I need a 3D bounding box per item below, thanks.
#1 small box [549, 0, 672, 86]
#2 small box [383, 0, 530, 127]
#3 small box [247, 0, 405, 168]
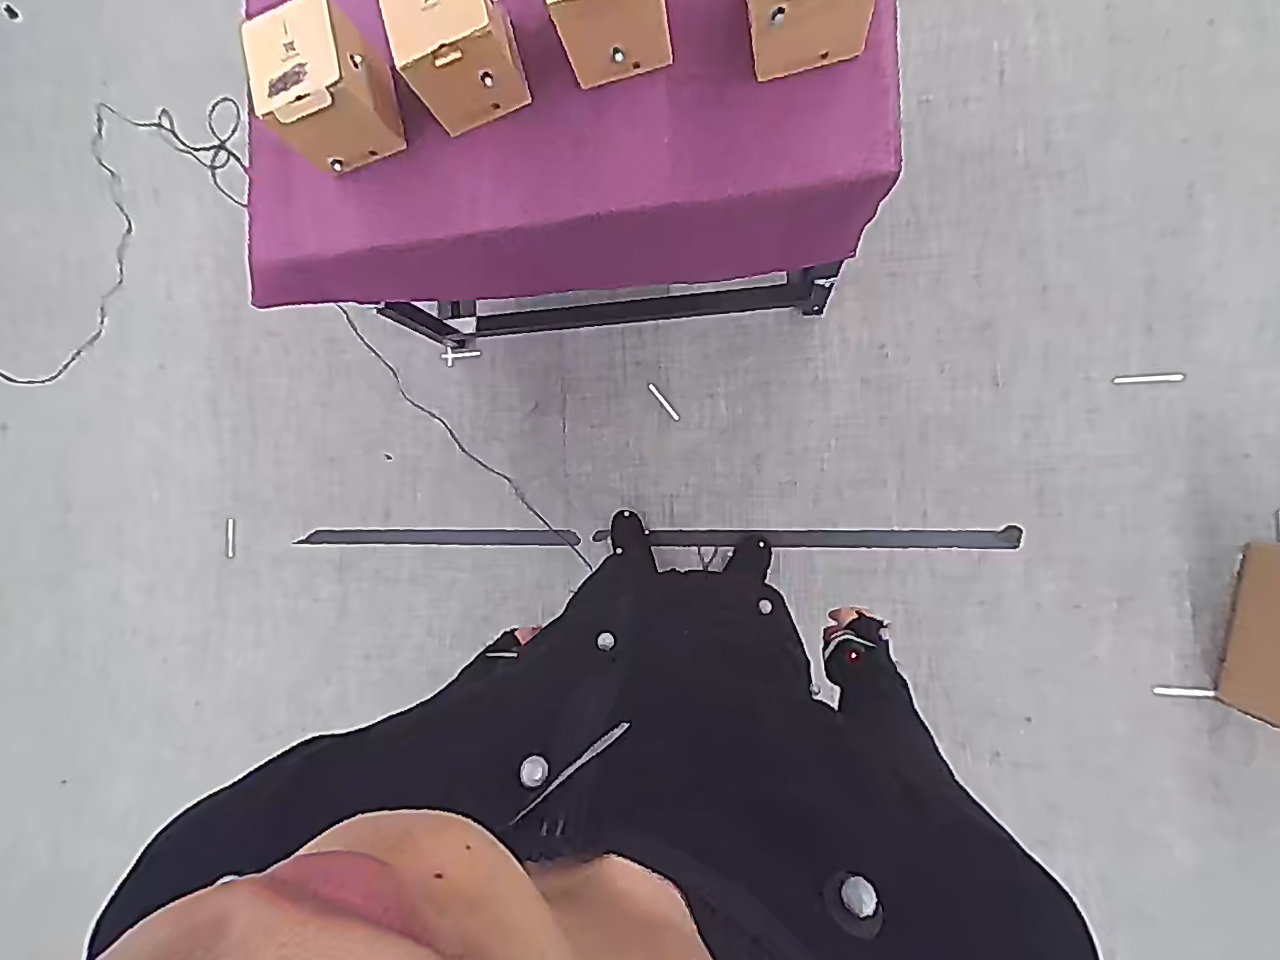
[{"bbox_3d":[-0.048,-0.788,0.864,0.168,0.176,0.179,-7,87,12],"label":"small box"},{"bbox_3d":[-0.304,-0.741,0.916,0.168,0.176,0.179,-16,85,10],"label":"small box"},{"bbox_3d":[-0.546,-0.692,0.961,0.168,0.176,0.179,-14,85,10],"label":"small box"}]
